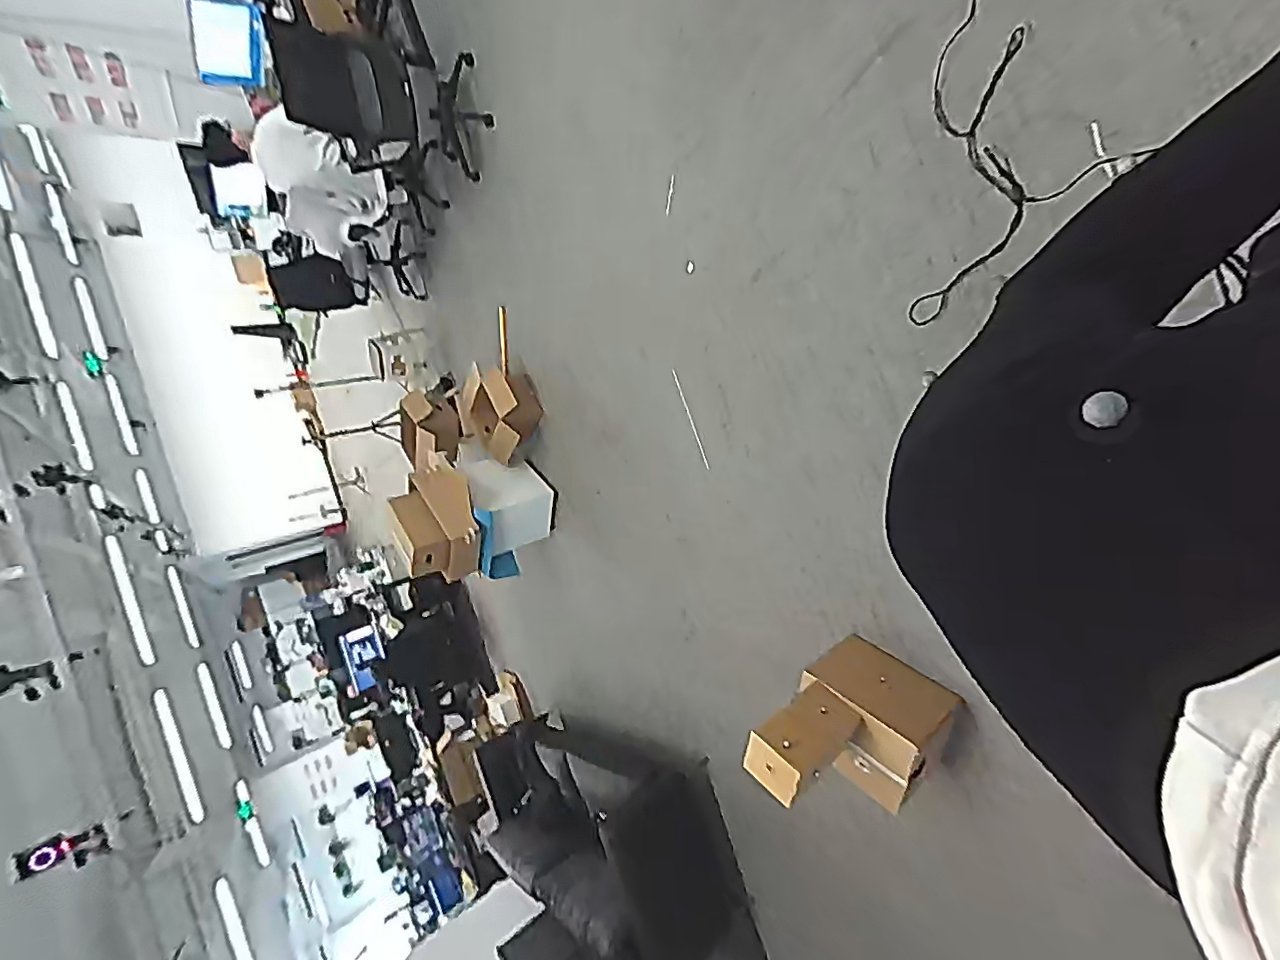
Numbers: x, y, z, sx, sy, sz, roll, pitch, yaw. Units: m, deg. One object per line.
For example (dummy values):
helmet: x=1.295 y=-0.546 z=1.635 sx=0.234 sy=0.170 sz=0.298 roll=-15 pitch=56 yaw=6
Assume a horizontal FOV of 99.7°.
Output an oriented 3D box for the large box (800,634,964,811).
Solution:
large box: x=0.815 y=0.807 z=1.865 sx=0.408 sy=0.320 sz=0.320 roll=26 pitch=126 yaw=44

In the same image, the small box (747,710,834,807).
small box: x=0.458 y=0.836 z=1.648 sx=0.179 sy=0.176 sz=0.168 roll=30 pitch=126 yaw=41
